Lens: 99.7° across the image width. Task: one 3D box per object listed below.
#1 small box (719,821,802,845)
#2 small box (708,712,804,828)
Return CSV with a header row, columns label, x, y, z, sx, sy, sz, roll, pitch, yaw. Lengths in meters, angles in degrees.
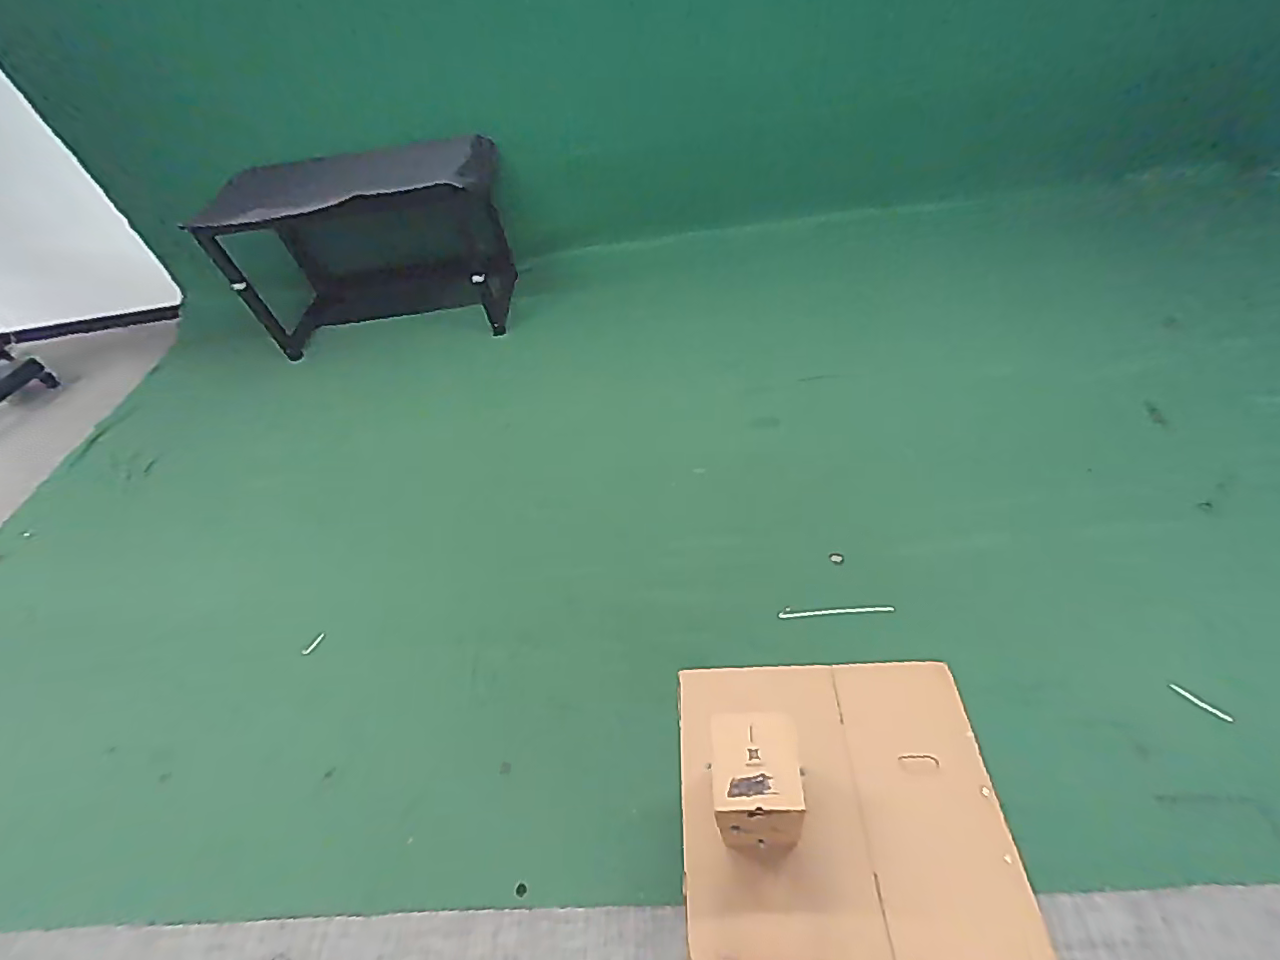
label,x,y,z,sx,sy,sz,roll,pitch,yaw
small box,0.255,0.688,1.195,0.168,0.176,0.179,-7,48,7
small box,0.228,0.579,1.075,0.168,0.176,0.179,-5,47,8
